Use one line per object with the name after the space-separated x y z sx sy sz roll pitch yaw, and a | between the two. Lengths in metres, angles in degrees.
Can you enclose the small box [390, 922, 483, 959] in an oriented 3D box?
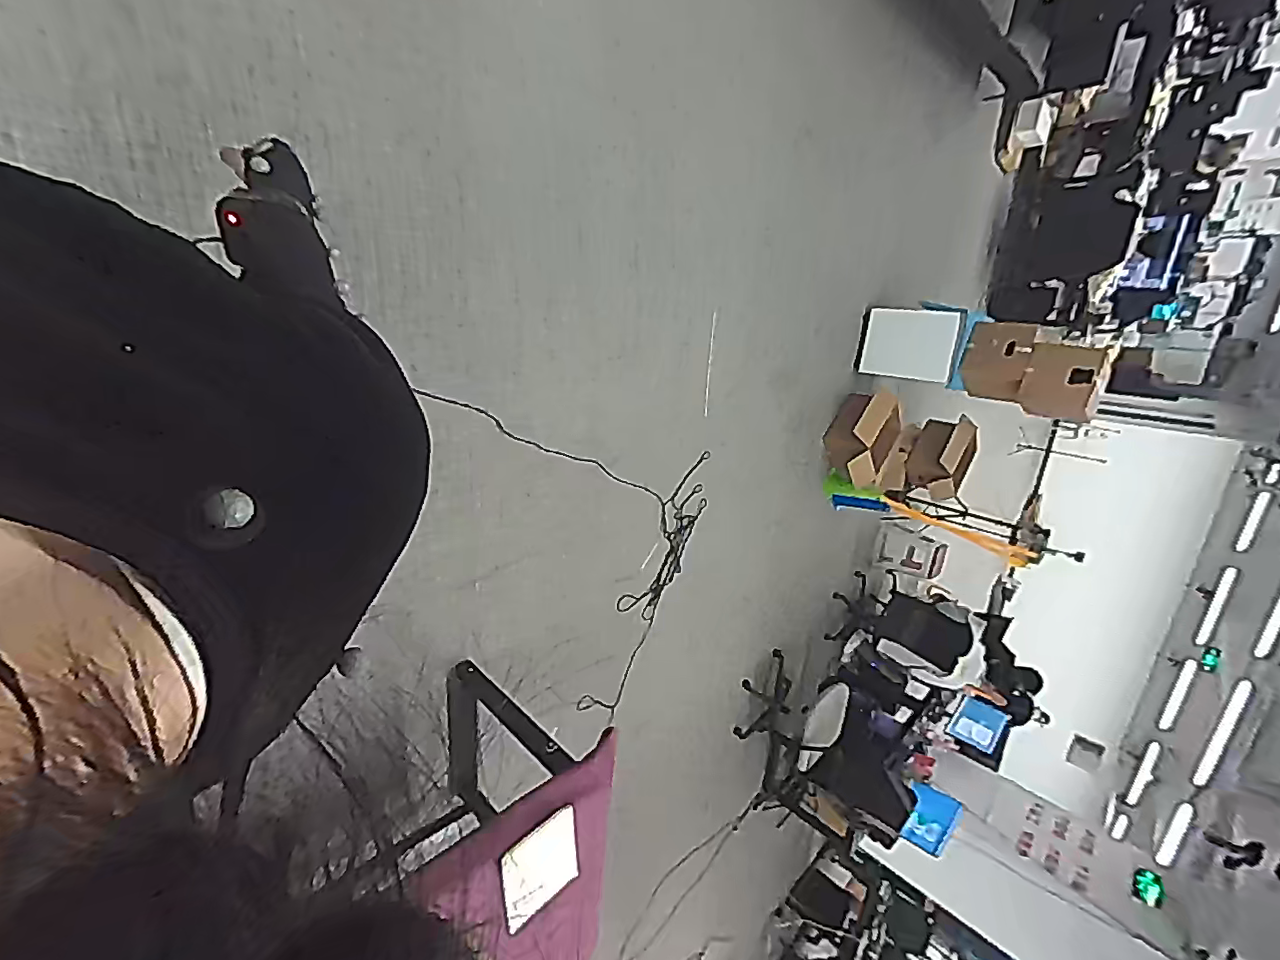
-0.409 1.038 1.073 0.168 0.176 0.179 -10 112 -44 | small box
